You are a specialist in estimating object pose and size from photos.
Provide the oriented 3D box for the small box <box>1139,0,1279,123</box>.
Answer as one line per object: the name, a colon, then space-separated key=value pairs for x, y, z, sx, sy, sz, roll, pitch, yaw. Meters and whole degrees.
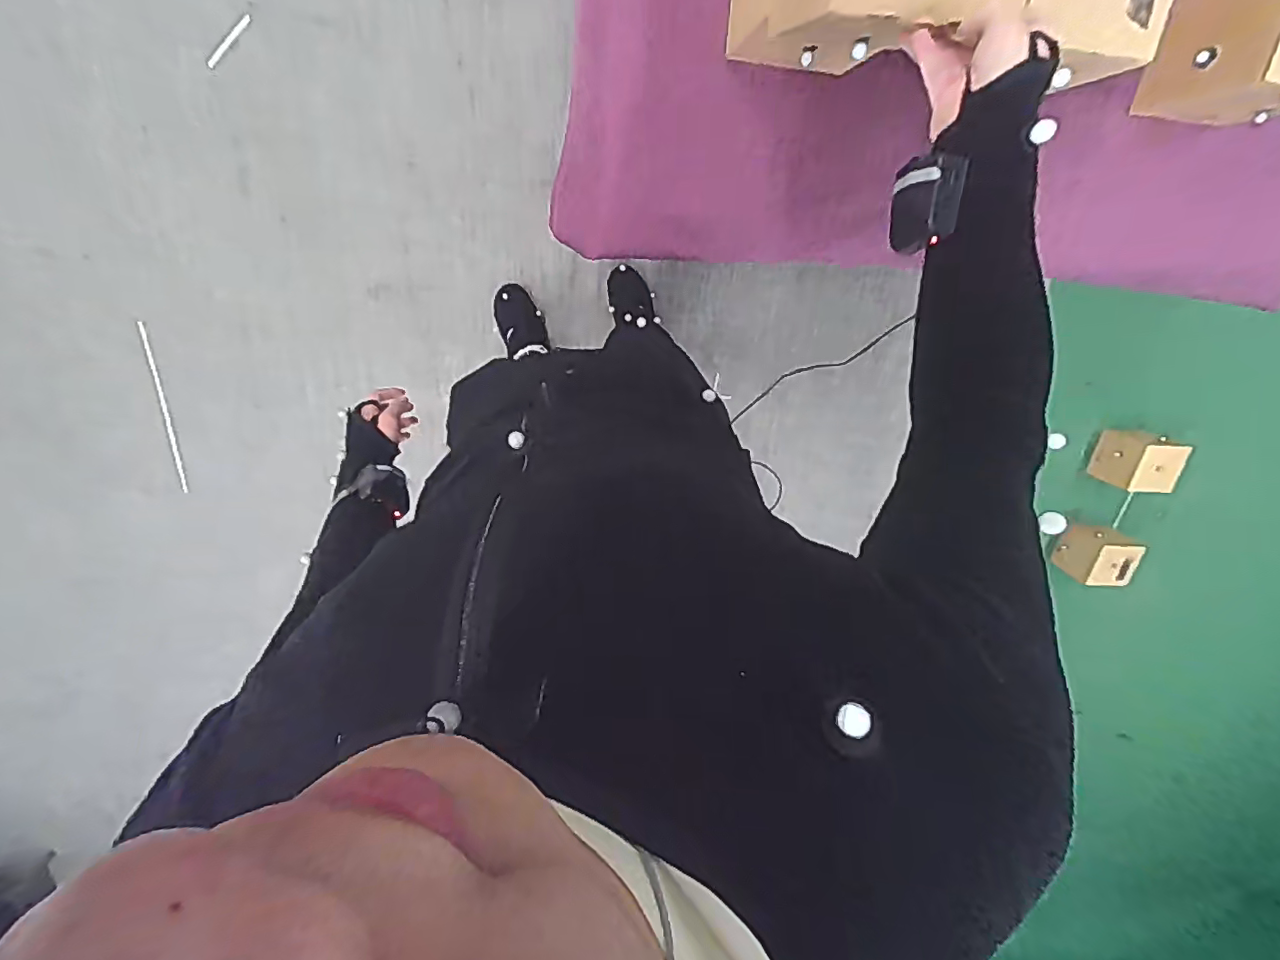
small box: x=0.809 y=-0.579 z=0.694 sx=0.168 sy=0.176 sz=0.179 roll=1 pitch=113 yaw=-9

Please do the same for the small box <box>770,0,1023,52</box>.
small box: x=0.224 y=-0.490 z=0.458 sx=0.168 sy=0.176 sz=0.179 roll=-1 pitch=123 yaw=-8

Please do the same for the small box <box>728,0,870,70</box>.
small box: x=0.204 y=-0.587 z=0.602 sx=0.168 sy=0.176 sz=0.179 roll=0 pitch=114 yaw=-9

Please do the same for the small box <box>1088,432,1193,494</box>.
small box: x=1.691 y=-0.061 z=1.842 sx=0.179 sy=0.176 sz=0.168 roll=1 pitch=113 yaw=-9

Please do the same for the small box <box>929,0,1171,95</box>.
small box: x=0.492 y=-0.582 z=0.646 sx=0.179 sy=0.176 sz=0.168 roll=1 pitch=113 yaw=-8
